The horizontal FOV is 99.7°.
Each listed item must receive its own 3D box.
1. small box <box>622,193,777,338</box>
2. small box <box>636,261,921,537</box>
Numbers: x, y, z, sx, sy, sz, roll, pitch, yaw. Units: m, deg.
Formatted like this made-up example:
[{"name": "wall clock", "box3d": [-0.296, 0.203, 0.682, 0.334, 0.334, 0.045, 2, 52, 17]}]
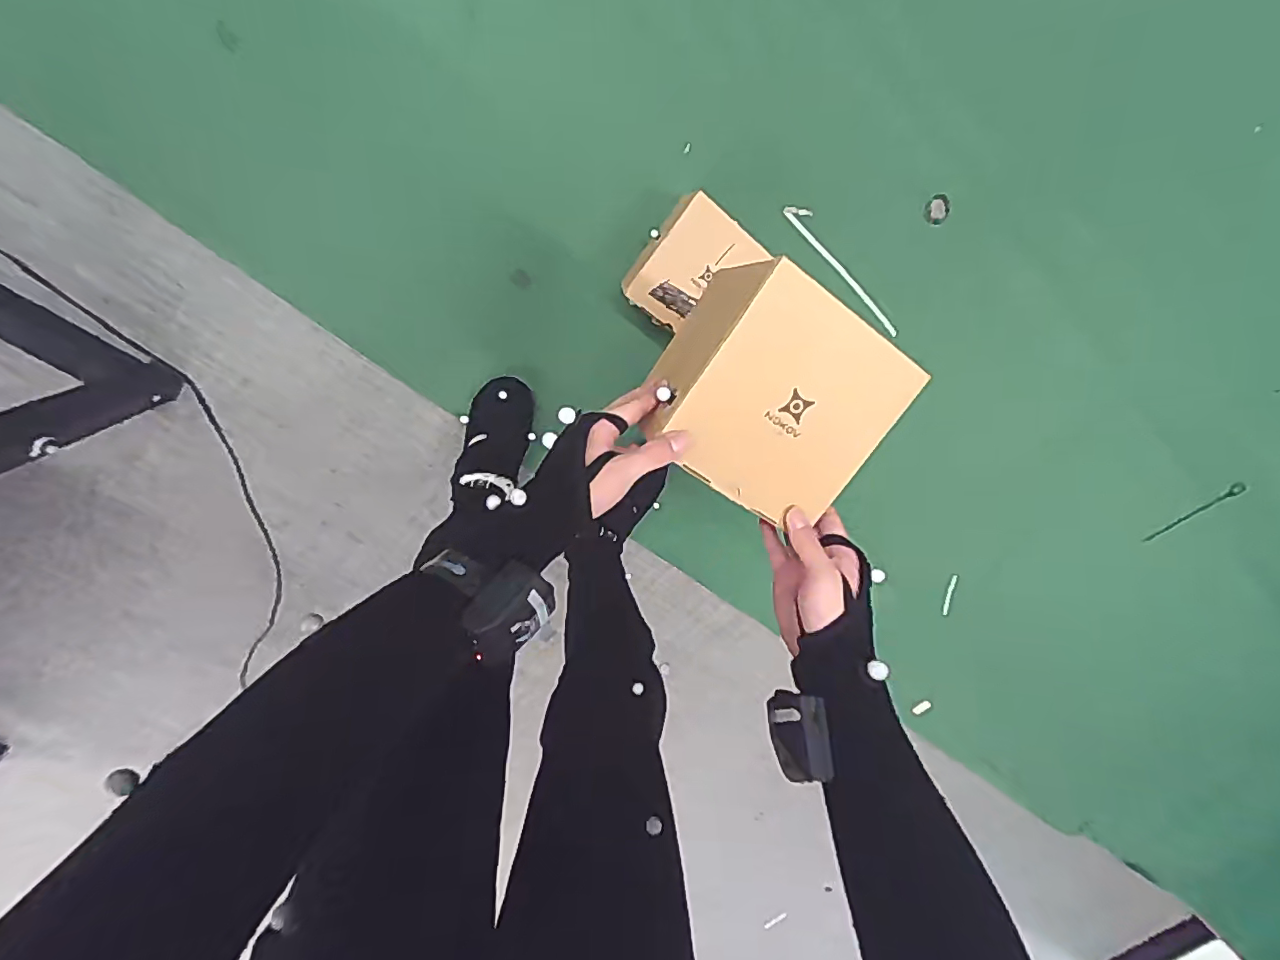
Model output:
[{"name": "small box", "box3d": [0.086, -0.323, 0.866, 0.168, 0.176, 0.179, 34, 107, -19]}, {"name": "small box", "box3d": [0.111, -0.083, 0.518, 0.168, 0.176, 0.179, 31, 103, -17]}]
